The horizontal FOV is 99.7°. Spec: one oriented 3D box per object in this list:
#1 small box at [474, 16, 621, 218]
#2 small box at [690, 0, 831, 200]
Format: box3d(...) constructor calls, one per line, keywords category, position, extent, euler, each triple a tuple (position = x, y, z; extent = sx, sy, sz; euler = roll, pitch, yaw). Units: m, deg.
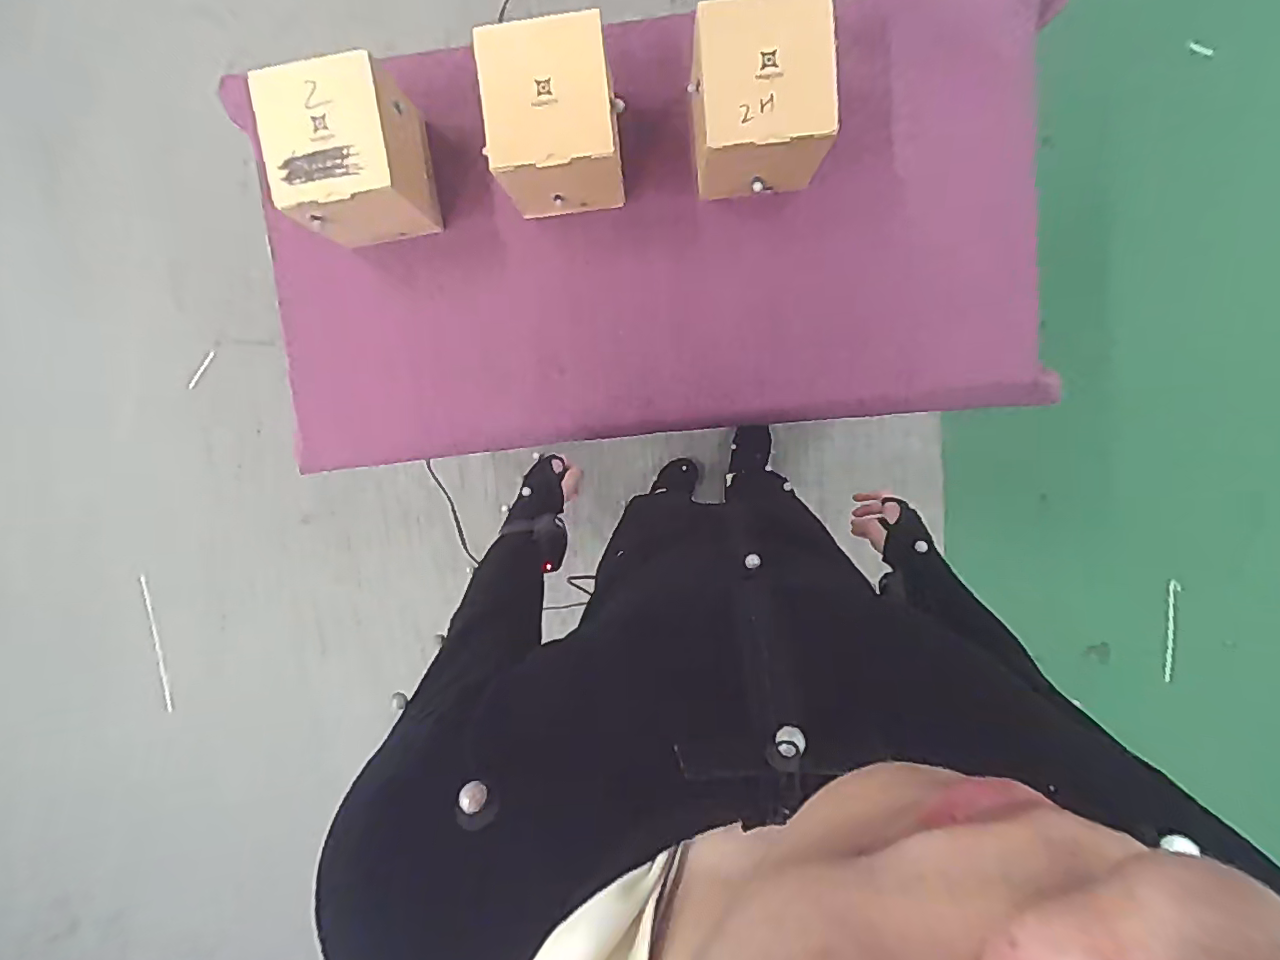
box3d(category="small box", position=(-0.122, -0.505, 0.779), extent=(0.168, 0.176, 0.179), euler=(-6, 97, 4))
box3d(category="small box", position=(0.159, -0.522, 0.757), extent=(0.168, 0.176, 0.179), euler=(-4, 97, 5))
